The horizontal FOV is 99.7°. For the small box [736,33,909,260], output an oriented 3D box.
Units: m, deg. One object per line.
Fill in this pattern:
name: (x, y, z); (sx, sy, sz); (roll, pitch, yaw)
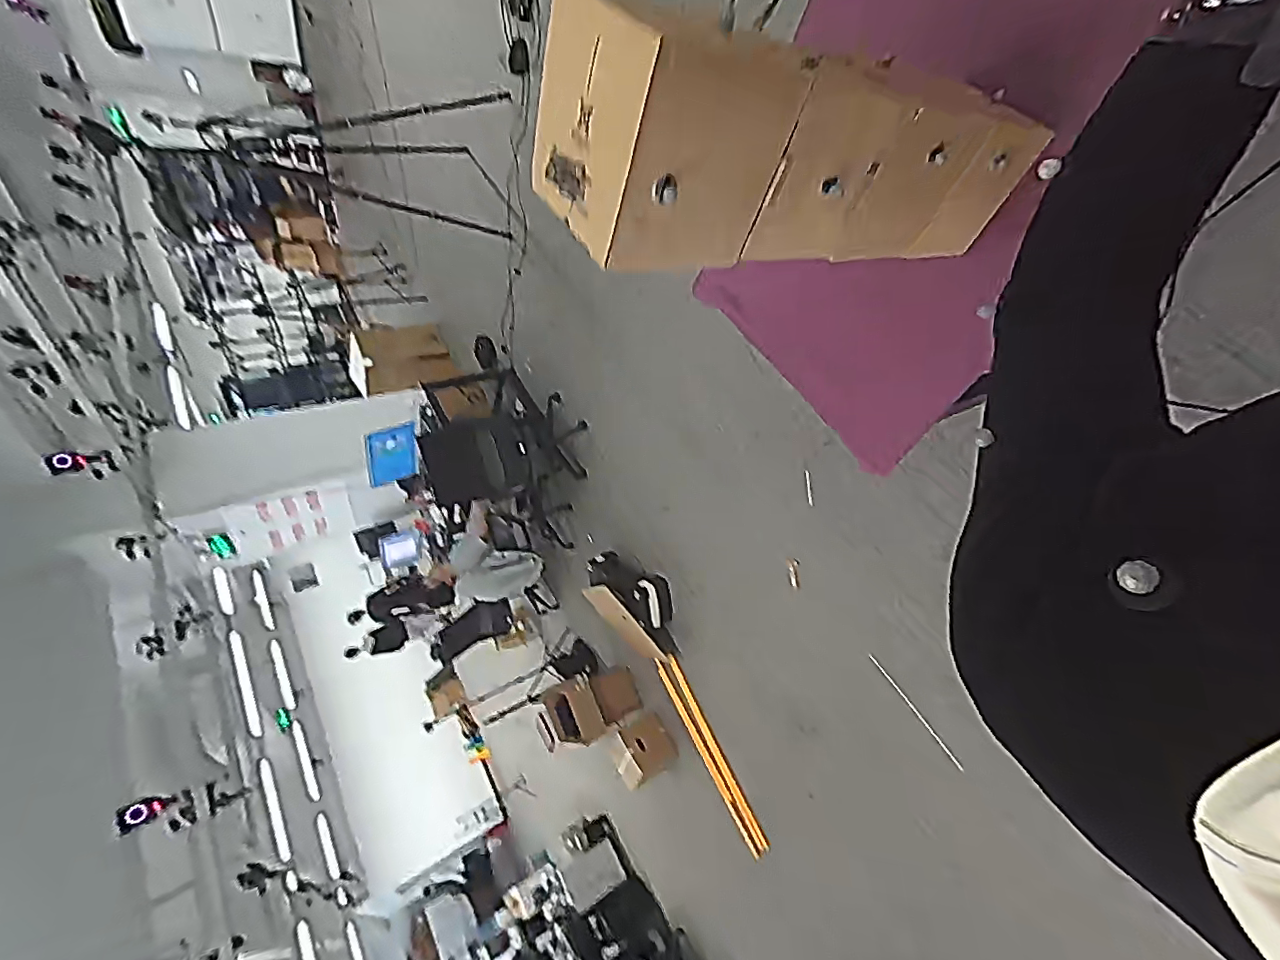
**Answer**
small box: (0.155, -0.371, 0.605); (0.179, 0.176, 0.168); (54, 143, 27)

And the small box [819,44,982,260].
small box: (0.291, -0.406, 0.687); (0.168, 0.176, 0.179); (56, 145, 26)

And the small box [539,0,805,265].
small box: (0.022, -0.328, 0.516); (0.168, 0.176, 0.179); (55, 143, 28)
